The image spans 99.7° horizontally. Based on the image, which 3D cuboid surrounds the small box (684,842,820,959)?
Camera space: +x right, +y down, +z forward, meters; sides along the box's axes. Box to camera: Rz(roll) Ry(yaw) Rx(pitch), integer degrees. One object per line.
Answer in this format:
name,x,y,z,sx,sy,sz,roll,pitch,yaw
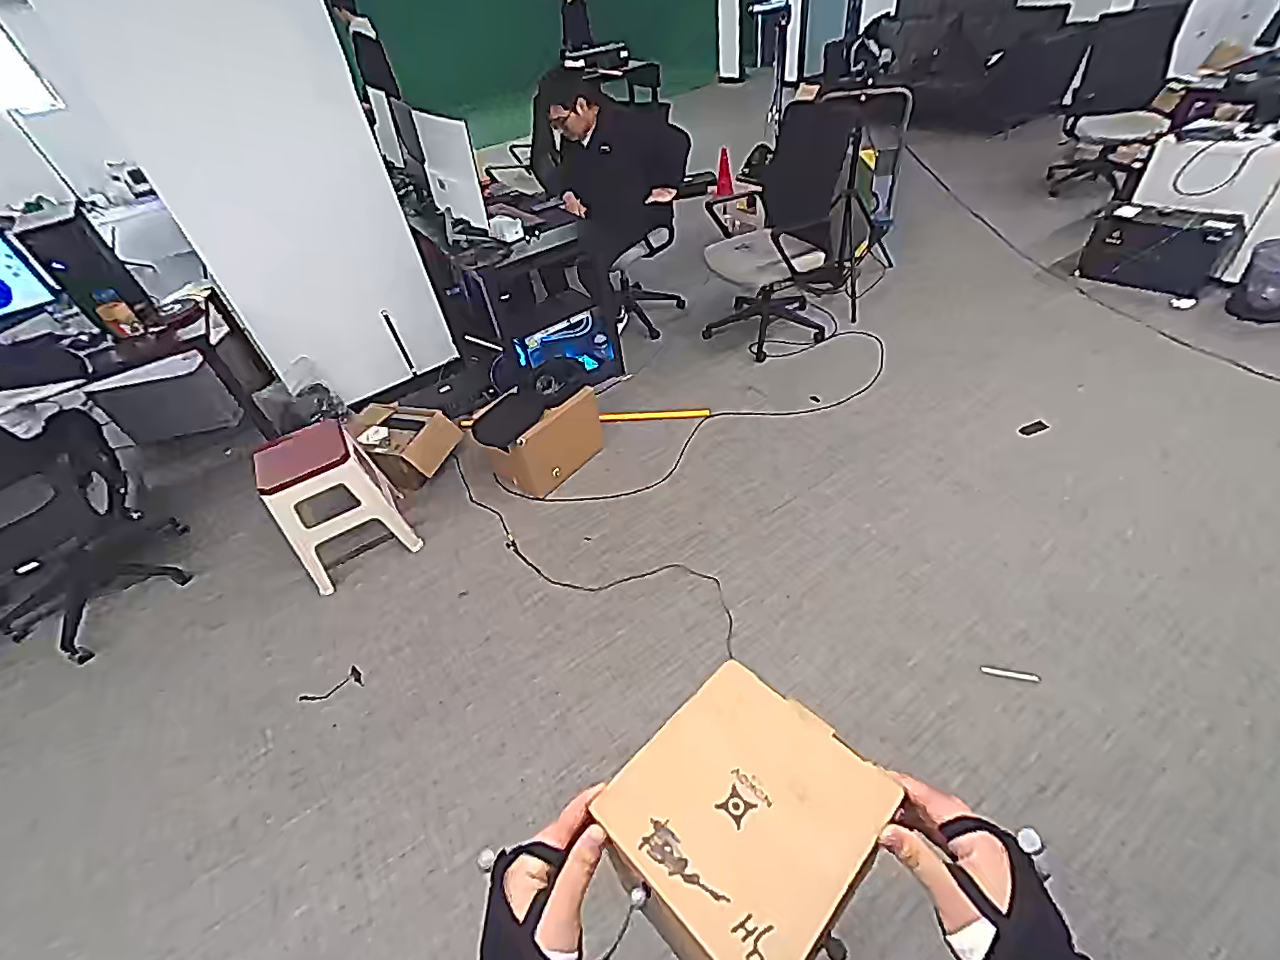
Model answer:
small box,0.200,0.815,0.980,0.179,0.176,0.168,-33,49,-25
